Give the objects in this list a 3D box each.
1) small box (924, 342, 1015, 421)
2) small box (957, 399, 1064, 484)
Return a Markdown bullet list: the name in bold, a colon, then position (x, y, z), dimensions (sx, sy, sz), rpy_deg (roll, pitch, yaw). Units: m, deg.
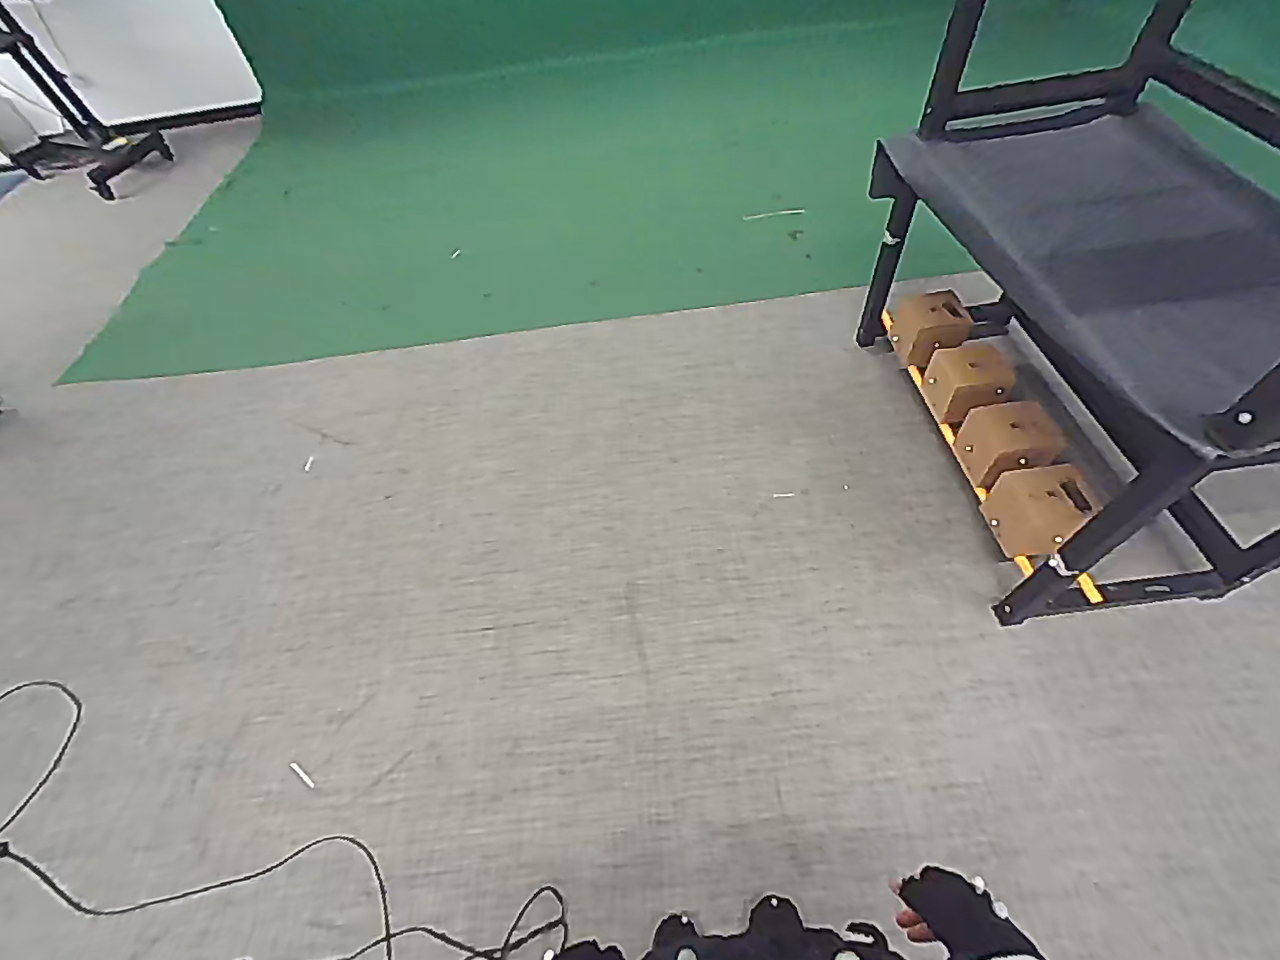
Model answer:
- **small box**: position (1.008, -0.300, 1.679), dimensions (0.179, 0.176, 0.168), rpy_deg (-7, 55, 3)
- **small box**: position (1.034, -0.104, 1.533), dimensions (0.179, 0.176, 0.168), rpy_deg (-8, 54, 2)
